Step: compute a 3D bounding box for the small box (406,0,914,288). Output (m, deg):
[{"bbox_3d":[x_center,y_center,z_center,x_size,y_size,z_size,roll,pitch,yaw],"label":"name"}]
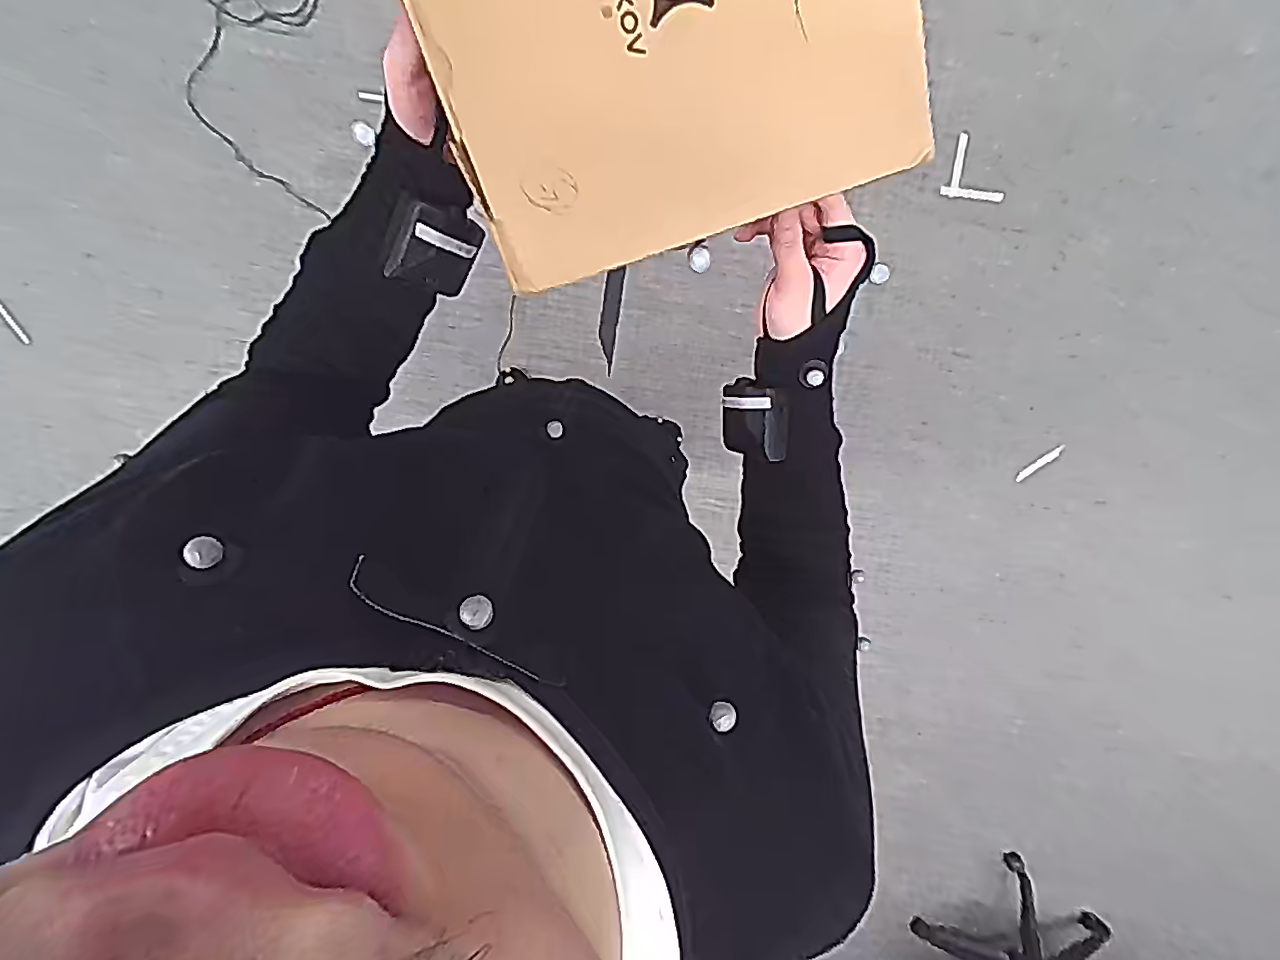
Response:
[{"bbox_3d":[0.001,-0.207,0.271,0.179,0.176,0.168,-19,113,3],"label":"small box"}]
